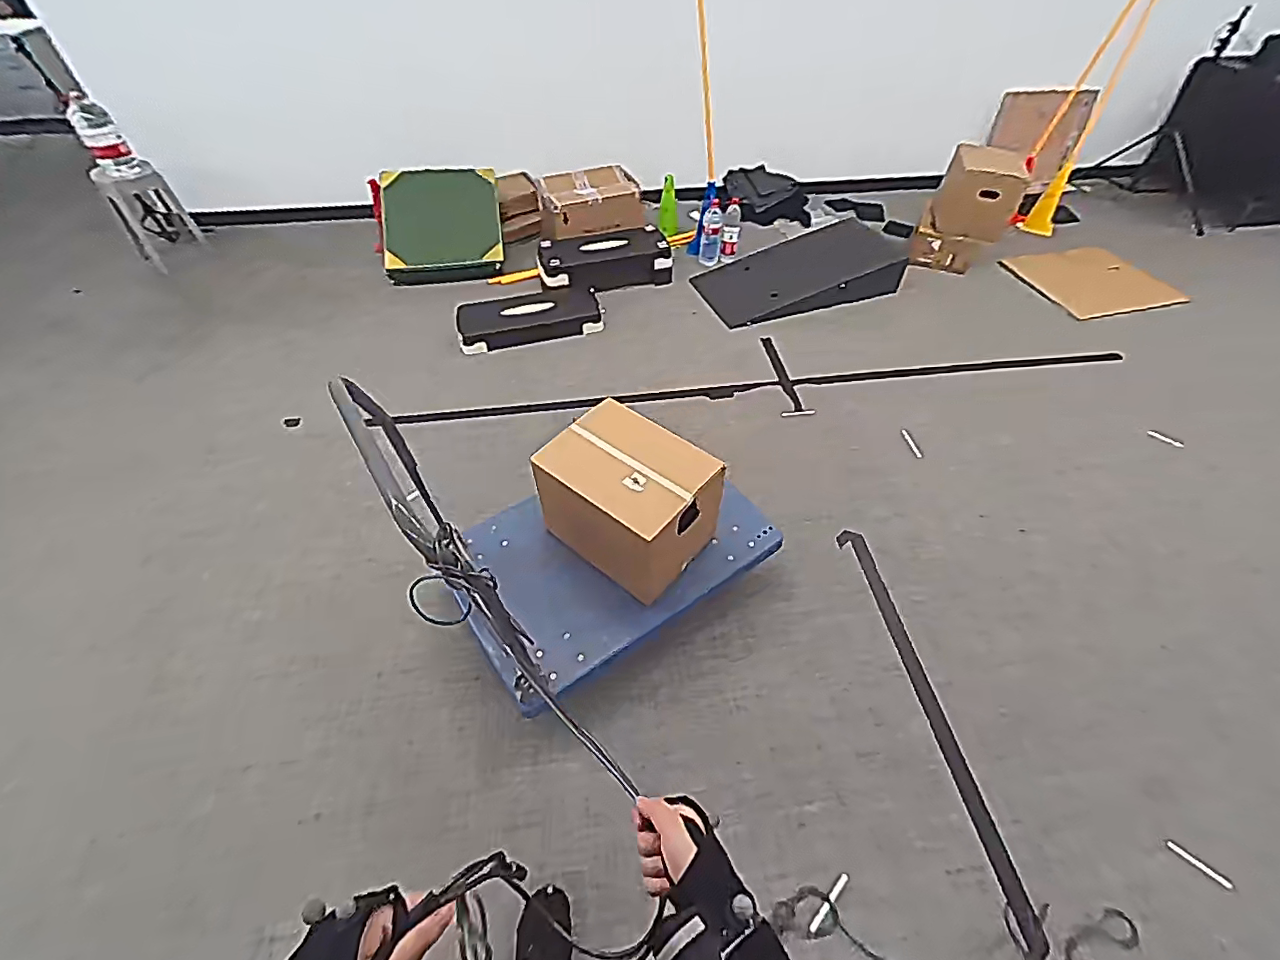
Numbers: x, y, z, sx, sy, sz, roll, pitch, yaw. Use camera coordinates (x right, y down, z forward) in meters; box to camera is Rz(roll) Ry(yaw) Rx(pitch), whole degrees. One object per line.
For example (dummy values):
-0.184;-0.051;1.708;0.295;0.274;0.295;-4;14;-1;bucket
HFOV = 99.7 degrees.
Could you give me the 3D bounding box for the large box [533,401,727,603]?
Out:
-0.029;0.055;1.479;0.408;0.320;0.320;33;58;24;large box
